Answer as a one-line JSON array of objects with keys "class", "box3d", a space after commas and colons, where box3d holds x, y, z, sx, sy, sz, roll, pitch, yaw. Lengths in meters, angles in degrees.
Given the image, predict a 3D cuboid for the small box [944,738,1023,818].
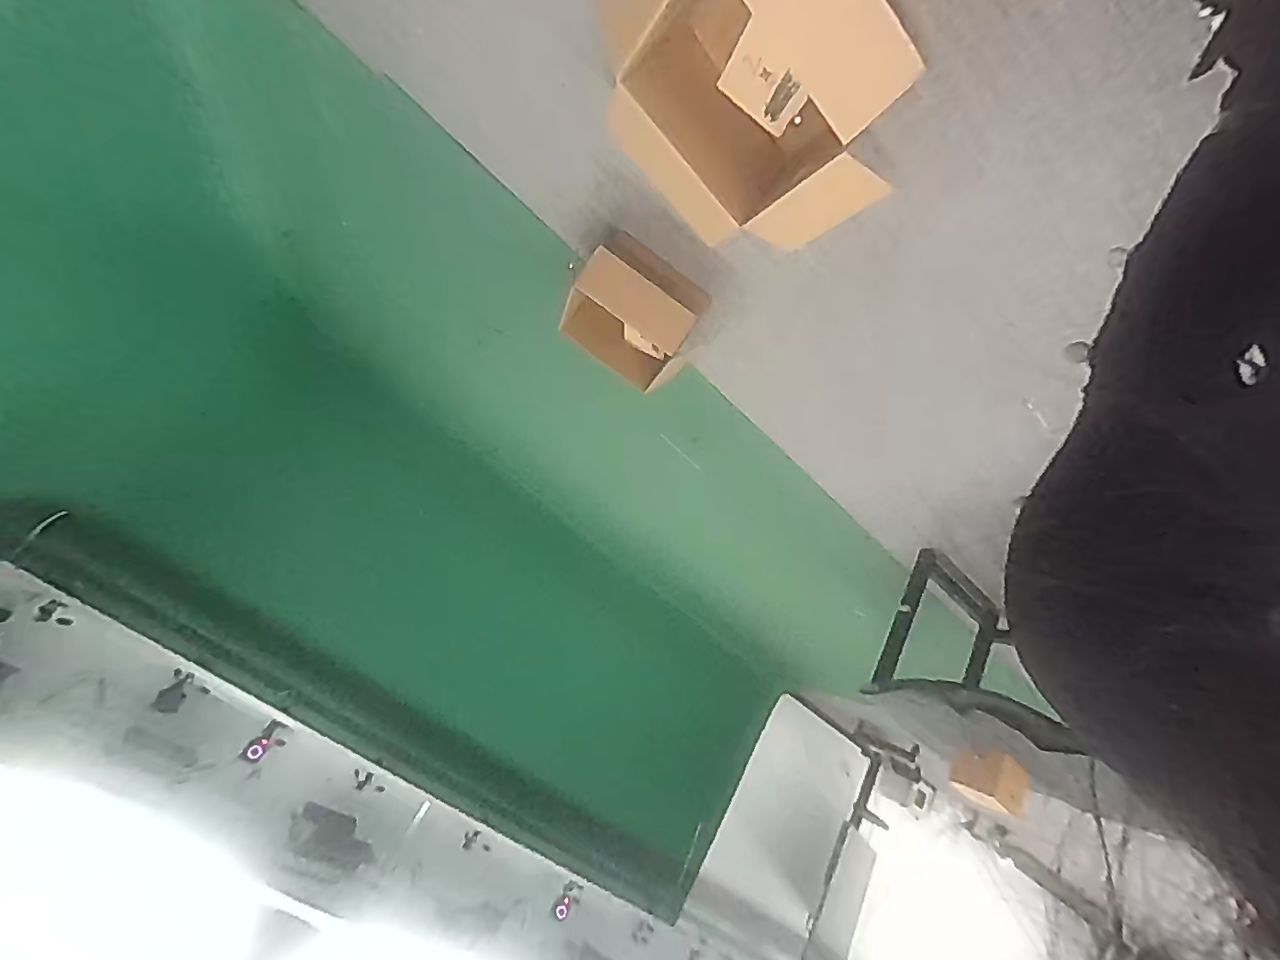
[{"class": "small box", "box3d": [1.243, 1.068, 1.948, 0.179, 0.176, 0.168, 42, 156, -19]}]
